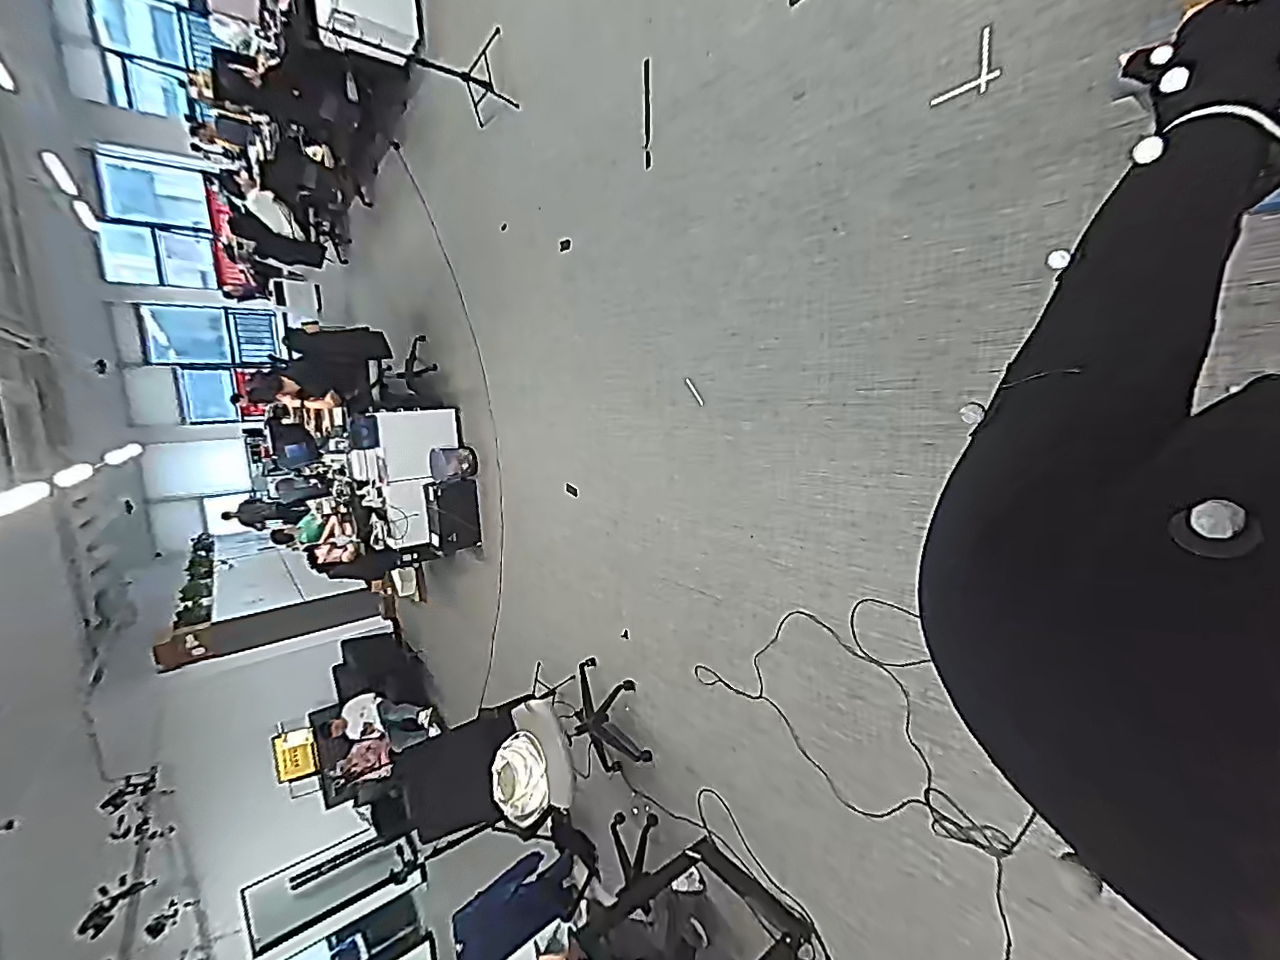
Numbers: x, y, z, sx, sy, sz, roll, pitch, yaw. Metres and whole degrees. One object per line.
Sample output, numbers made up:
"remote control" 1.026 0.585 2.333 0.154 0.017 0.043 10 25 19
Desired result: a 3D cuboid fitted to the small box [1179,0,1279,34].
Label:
"small box" 0.899 -0.779 0.763 0.179 0.176 0.168 20 113 47
